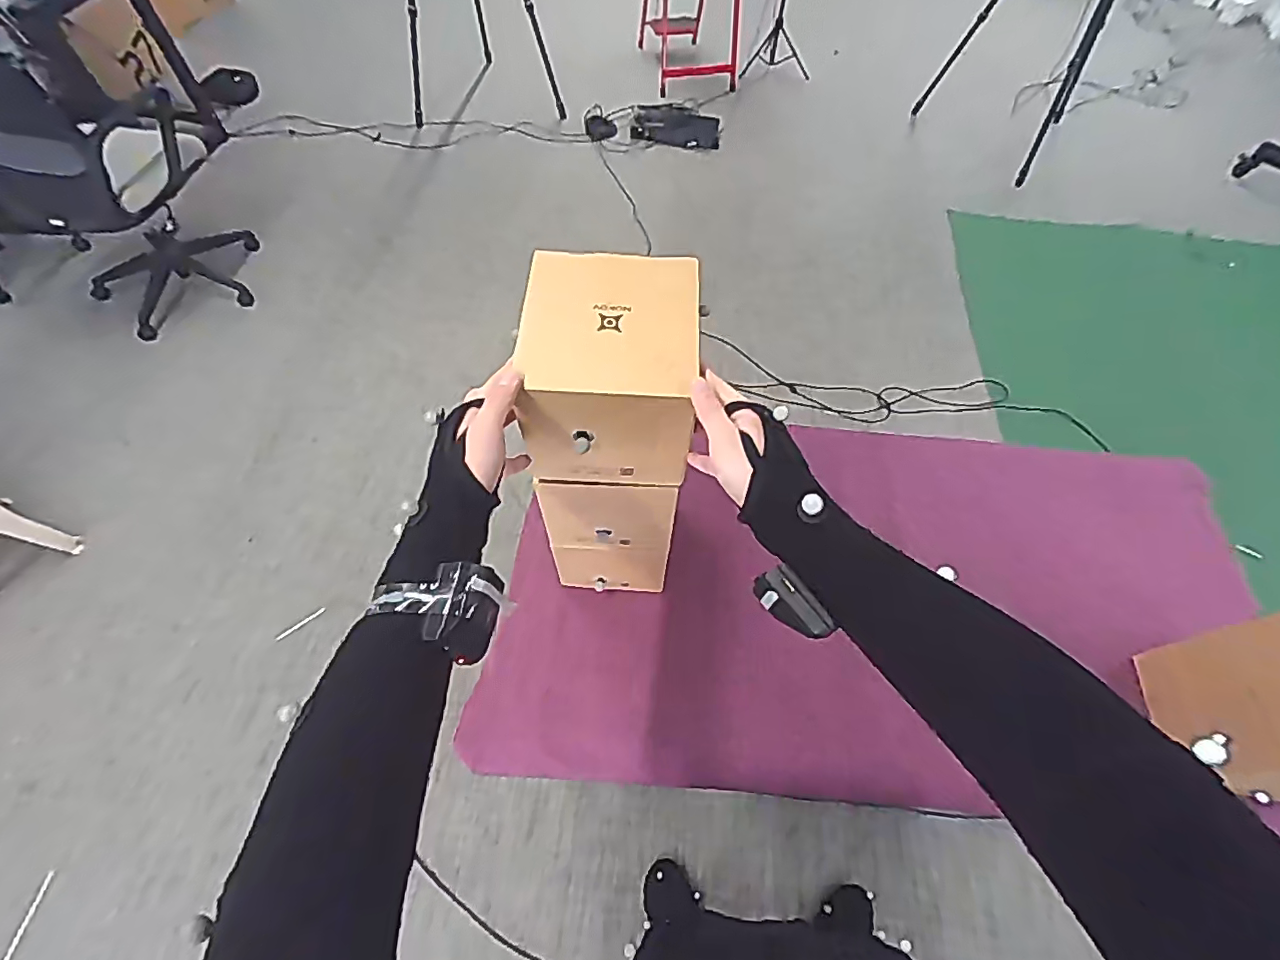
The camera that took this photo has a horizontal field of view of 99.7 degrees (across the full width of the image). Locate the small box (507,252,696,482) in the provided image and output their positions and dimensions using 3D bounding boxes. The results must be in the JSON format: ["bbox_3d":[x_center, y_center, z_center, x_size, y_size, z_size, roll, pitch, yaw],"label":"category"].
[{"bbox_3d":[-0.030,-0.110,0.568,0.168,0.176,0.179,2,61,0],"label":"small box"}]

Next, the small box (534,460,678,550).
[{"bbox_3d":[-0.036,-0.025,0.717,0.168,0.176,0.179,3,59,1],"label":"small box"}]

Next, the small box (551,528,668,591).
[{"bbox_3d":[-0.040,0.060,0.856,0.168,0.176,0.179,3,60,1],"label":"small box"}]

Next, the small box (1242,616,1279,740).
[{"bbox_3d":[0.829,0.230,0.578,0.168,0.176,0.179,9,58,6],"label":"small box"}]
